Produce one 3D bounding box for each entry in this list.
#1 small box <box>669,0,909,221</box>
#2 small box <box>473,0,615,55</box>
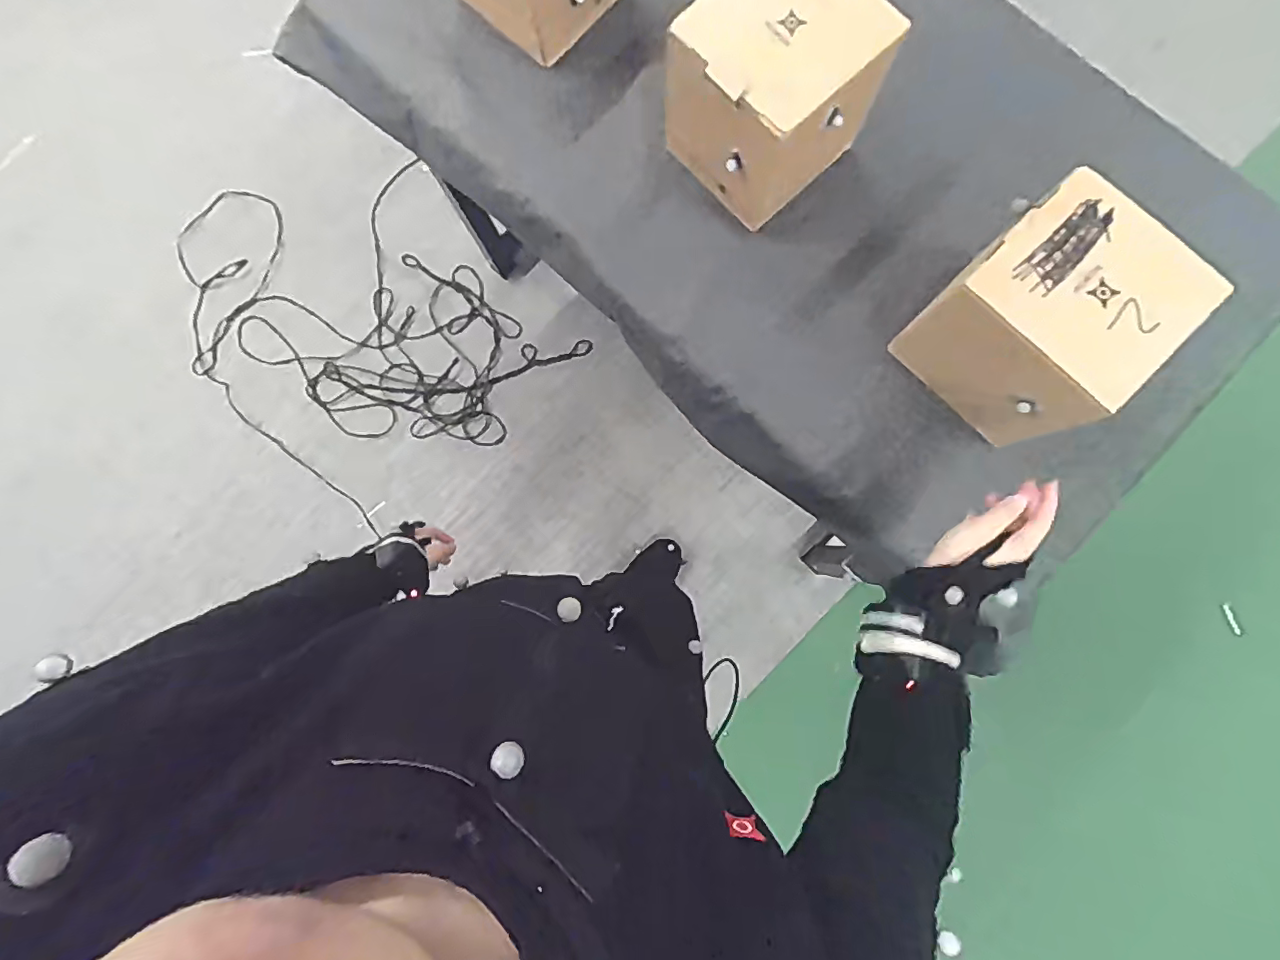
[{"bbox_3d":[0.149,-0.438,0.607,0.179,0.176,0.168,-42,85,-4],"label":"small box"},{"bbox_3d":[-0.132,-0.671,0.643,0.179,0.176,0.168,42,87,5],"label":"small box"}]
